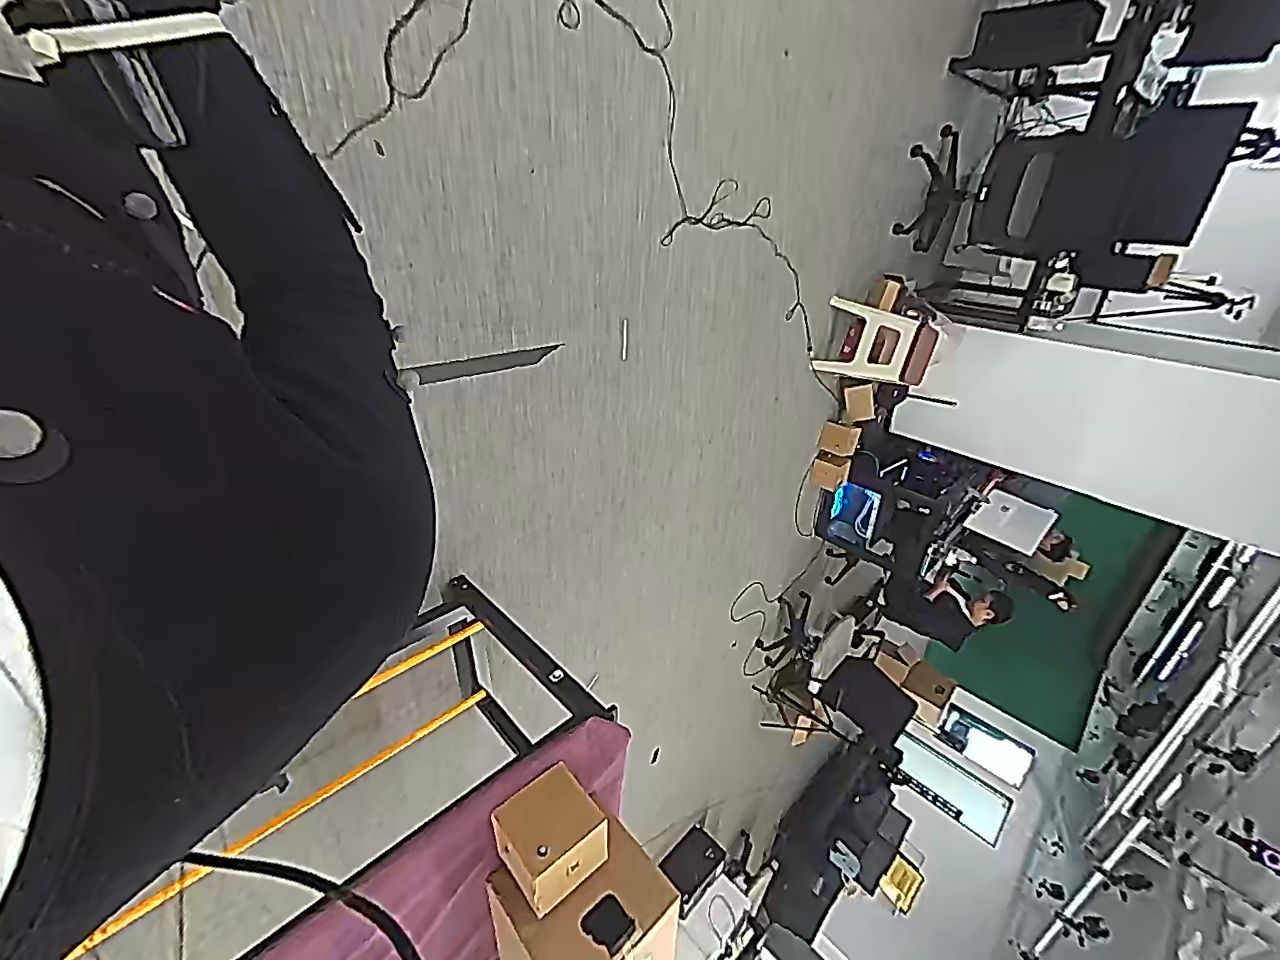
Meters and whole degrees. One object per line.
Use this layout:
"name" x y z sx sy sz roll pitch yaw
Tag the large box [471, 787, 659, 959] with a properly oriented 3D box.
"large box" -0.173 1.048 1.284 0.320 0.320 0.408 -22 126 -38
